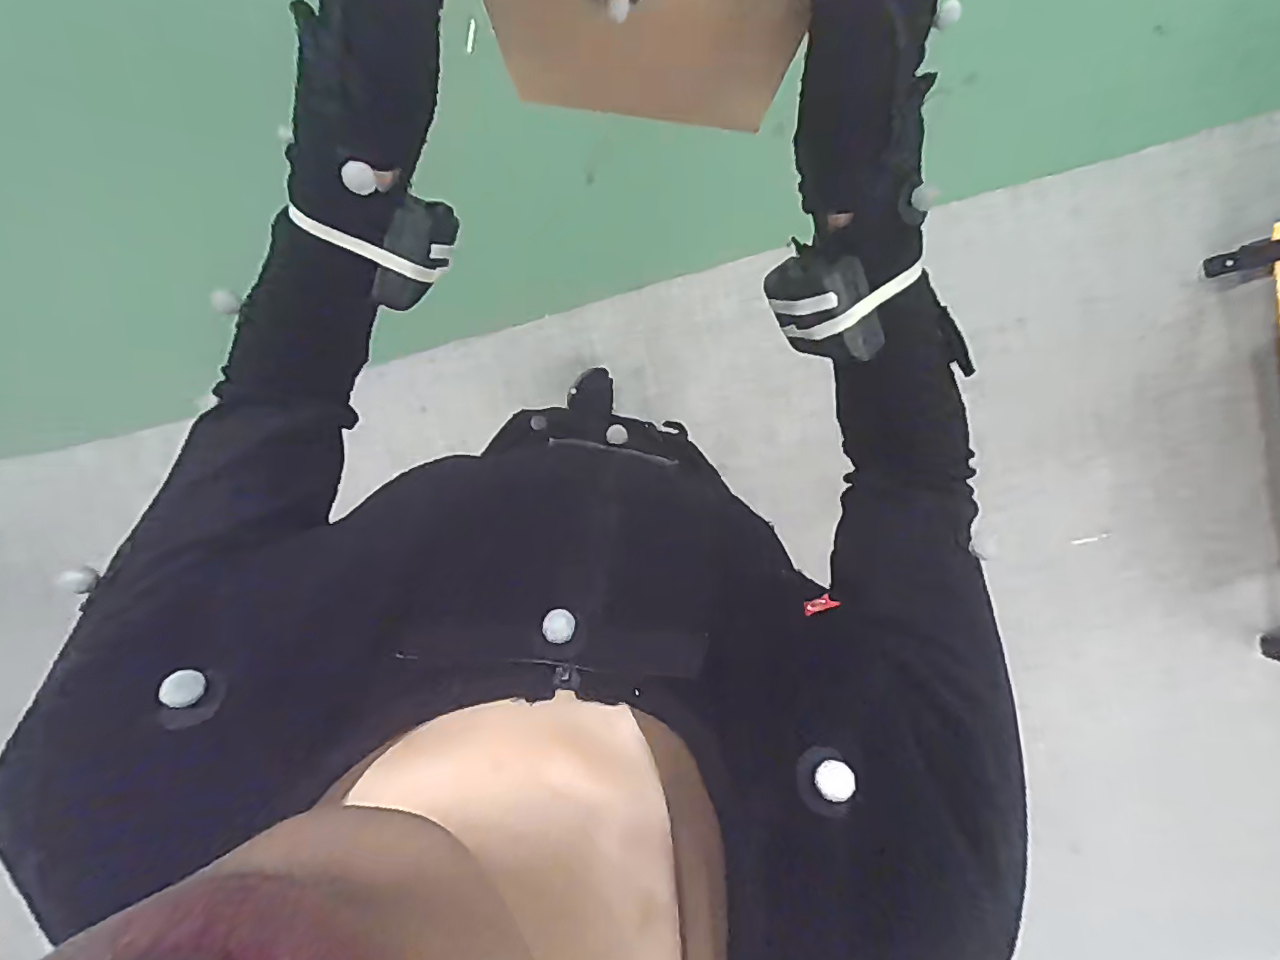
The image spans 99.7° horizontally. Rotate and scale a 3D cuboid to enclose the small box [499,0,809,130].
[{"bbox_3d":[0.012,-0.329,0.304,0.179,0.176,0.168,6,99,-2],"label":"small box"}]
